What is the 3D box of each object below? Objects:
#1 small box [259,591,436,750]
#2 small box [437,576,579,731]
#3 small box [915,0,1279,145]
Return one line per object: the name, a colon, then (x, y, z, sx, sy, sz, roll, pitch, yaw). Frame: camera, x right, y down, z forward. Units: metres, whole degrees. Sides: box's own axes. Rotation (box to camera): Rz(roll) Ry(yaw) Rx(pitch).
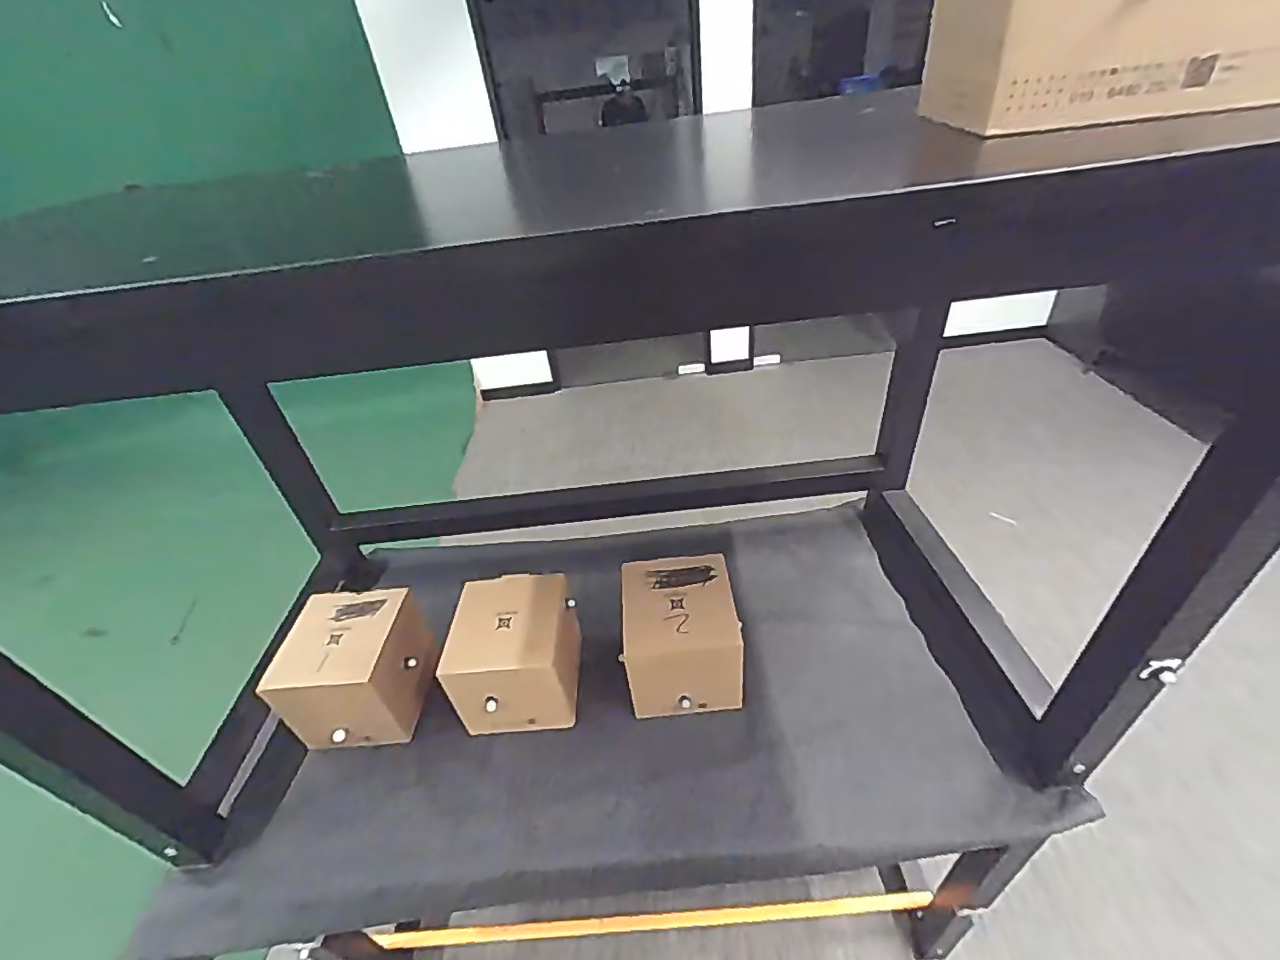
small box: (-0.447, 0.303, 0.865, 0.168, 0.176, 0.179, -5, 37, 3)
small box: (-0.195, 0.279, 0.858, 0.168, 0.176, 0.179, -6, 36, 2)
small box: (0.293, -0.321, 0.342, 0.168, 0.176, 0.179, 1, 37, 11)
